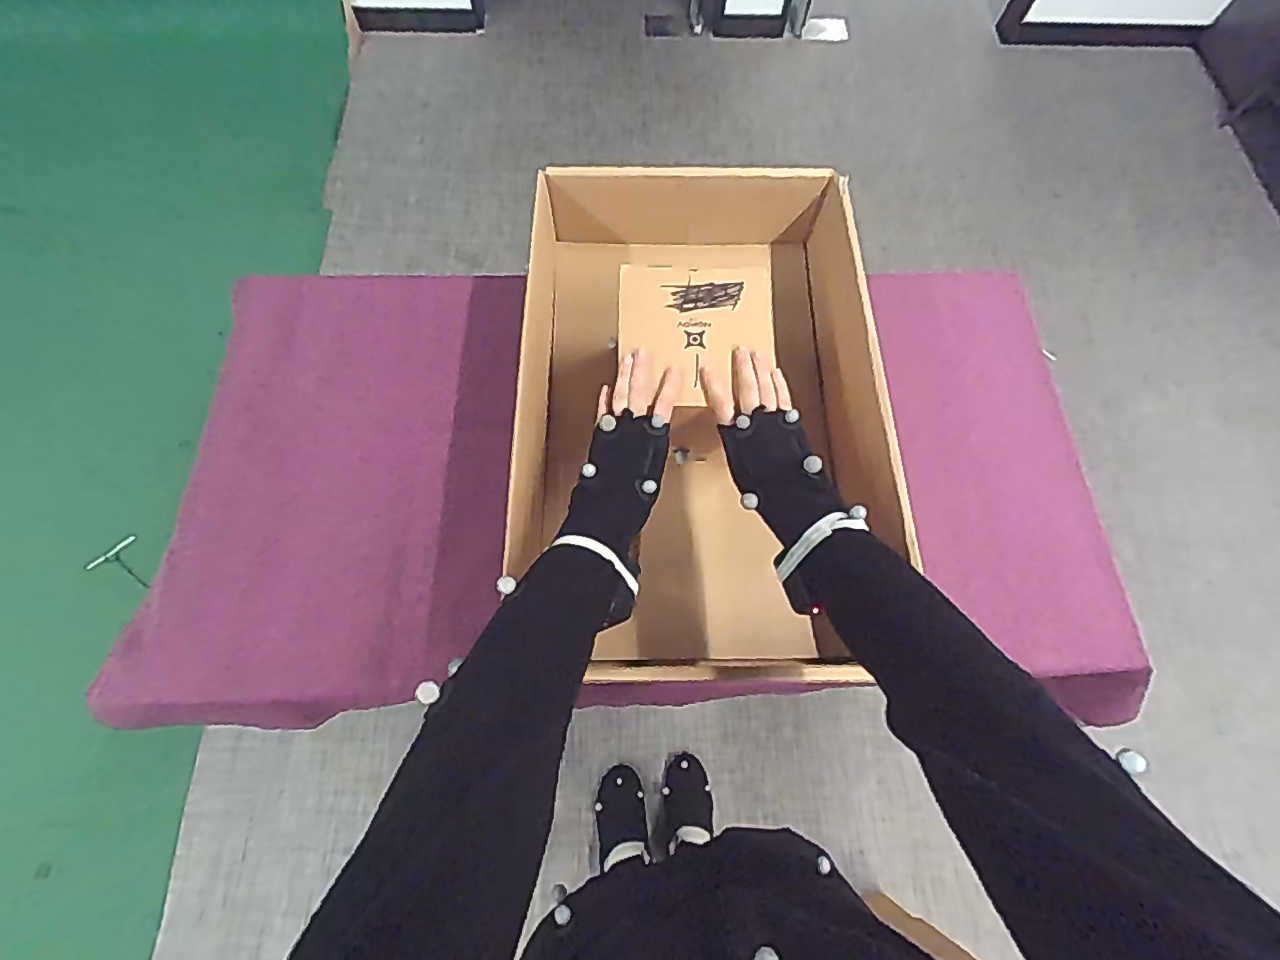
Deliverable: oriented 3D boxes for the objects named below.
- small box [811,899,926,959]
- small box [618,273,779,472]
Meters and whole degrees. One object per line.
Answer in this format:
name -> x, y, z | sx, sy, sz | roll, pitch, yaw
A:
small box -> 0.456, 0.971, 1.077 | 0.179, 0.176, 0.168 | -6, 69, -4
small box -> 0.058, -0.121, 0.648 | 0.168, 0.176, 0.179 | 0, 71, -1
